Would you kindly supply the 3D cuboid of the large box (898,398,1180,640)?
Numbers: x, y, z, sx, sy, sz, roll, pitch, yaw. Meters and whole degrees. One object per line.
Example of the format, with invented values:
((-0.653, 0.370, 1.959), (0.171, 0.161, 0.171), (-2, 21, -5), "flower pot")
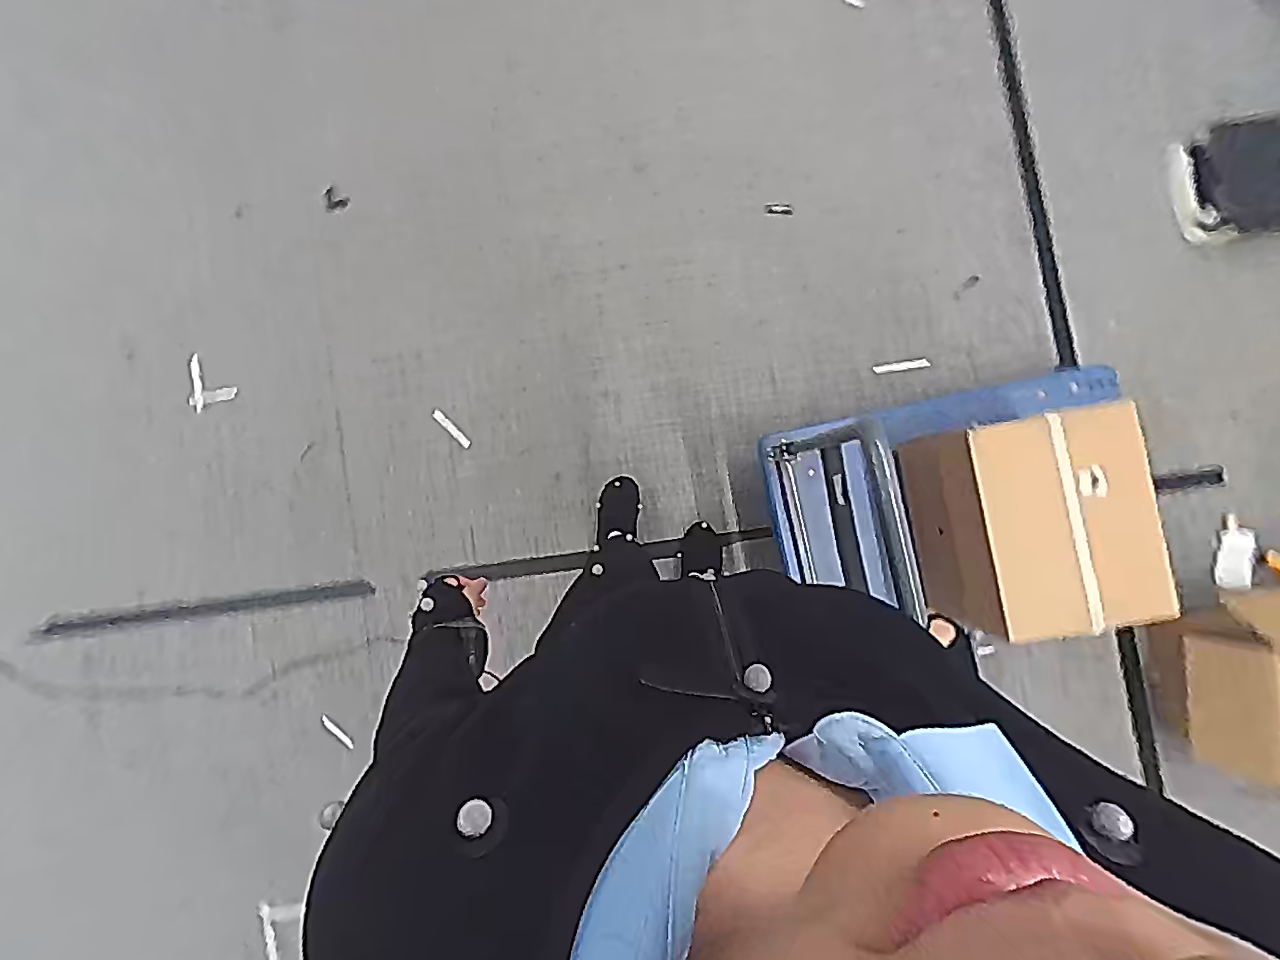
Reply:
((0.791, 0.077, 1.132), (0.320, 0.320, 0.408), (-10, 87, 1), "large box")
